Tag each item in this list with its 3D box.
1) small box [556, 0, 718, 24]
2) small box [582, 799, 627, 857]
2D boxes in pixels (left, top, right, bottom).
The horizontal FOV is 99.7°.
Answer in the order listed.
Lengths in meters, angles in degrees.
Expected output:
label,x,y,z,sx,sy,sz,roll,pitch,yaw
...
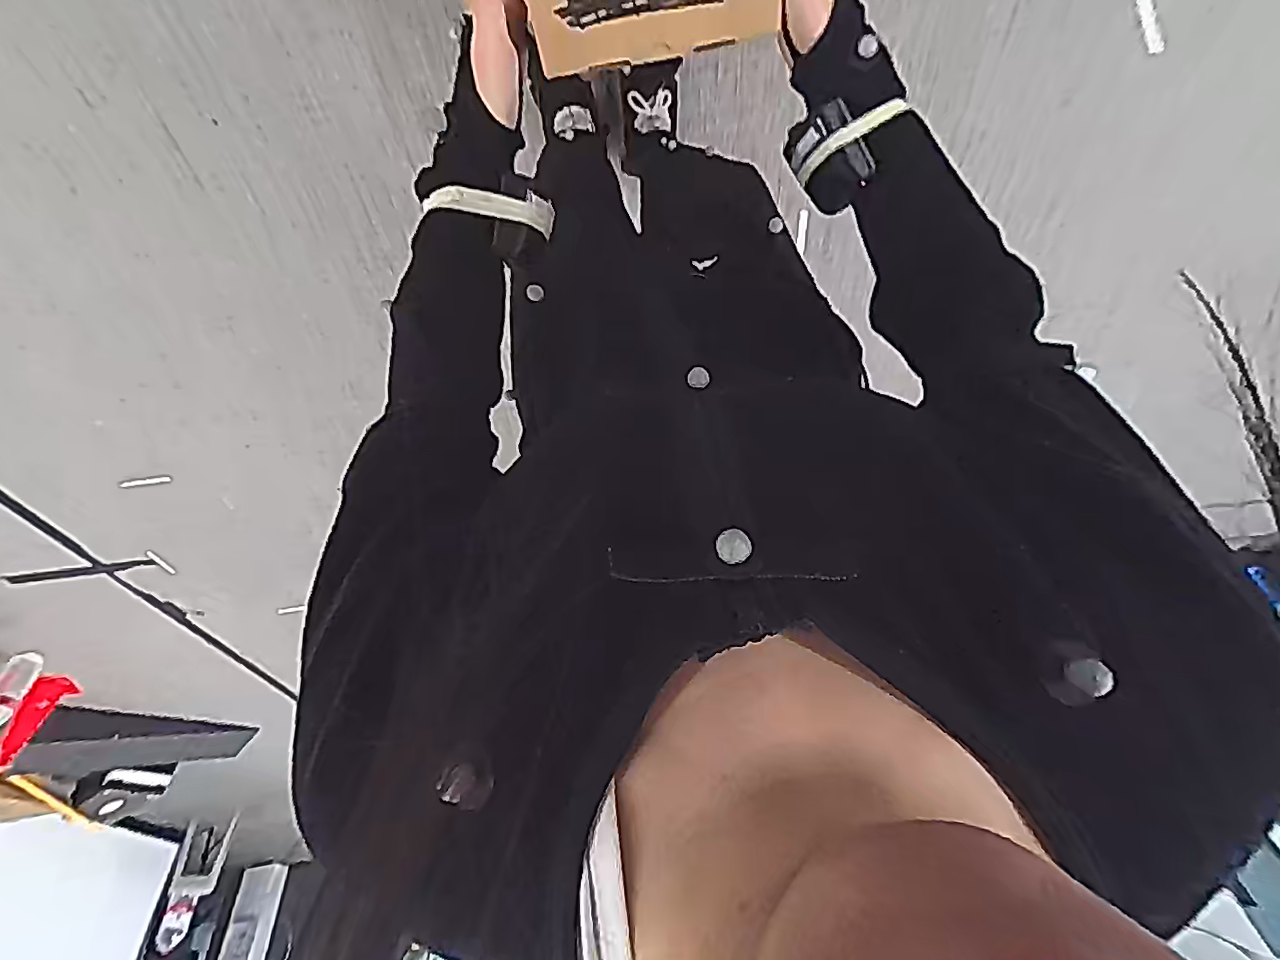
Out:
label,x,y,z,sx,sy,sz,roll,pitch,yaw
small box,-0.017,-0.583,0.534,0.168,0.176,0.179,-8,139,-2
small box,-0.151,1.479,2.298,0.168,0.176,0.179,-8,136,-3
